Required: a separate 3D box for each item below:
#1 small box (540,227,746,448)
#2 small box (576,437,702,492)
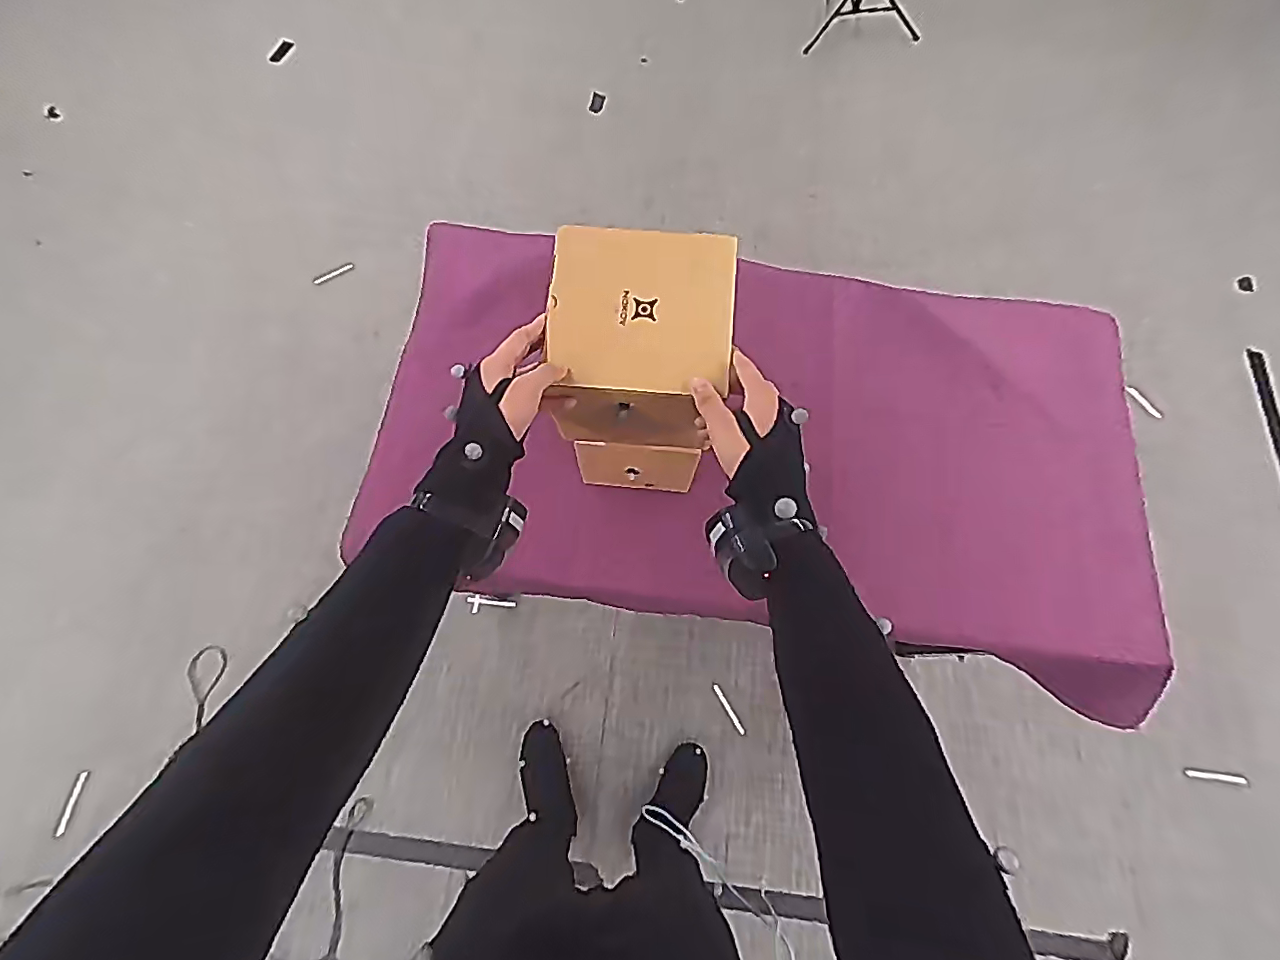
[{"bbox_3d":[0.008,-0.136,0.569,0.179,0.176,0.168,5,78,4],"label":"small box"},{"bbox_3d":[0.006,-0.091,0.790,0.168,0.176,0.179,6,71,0],"label":"small box"}]
